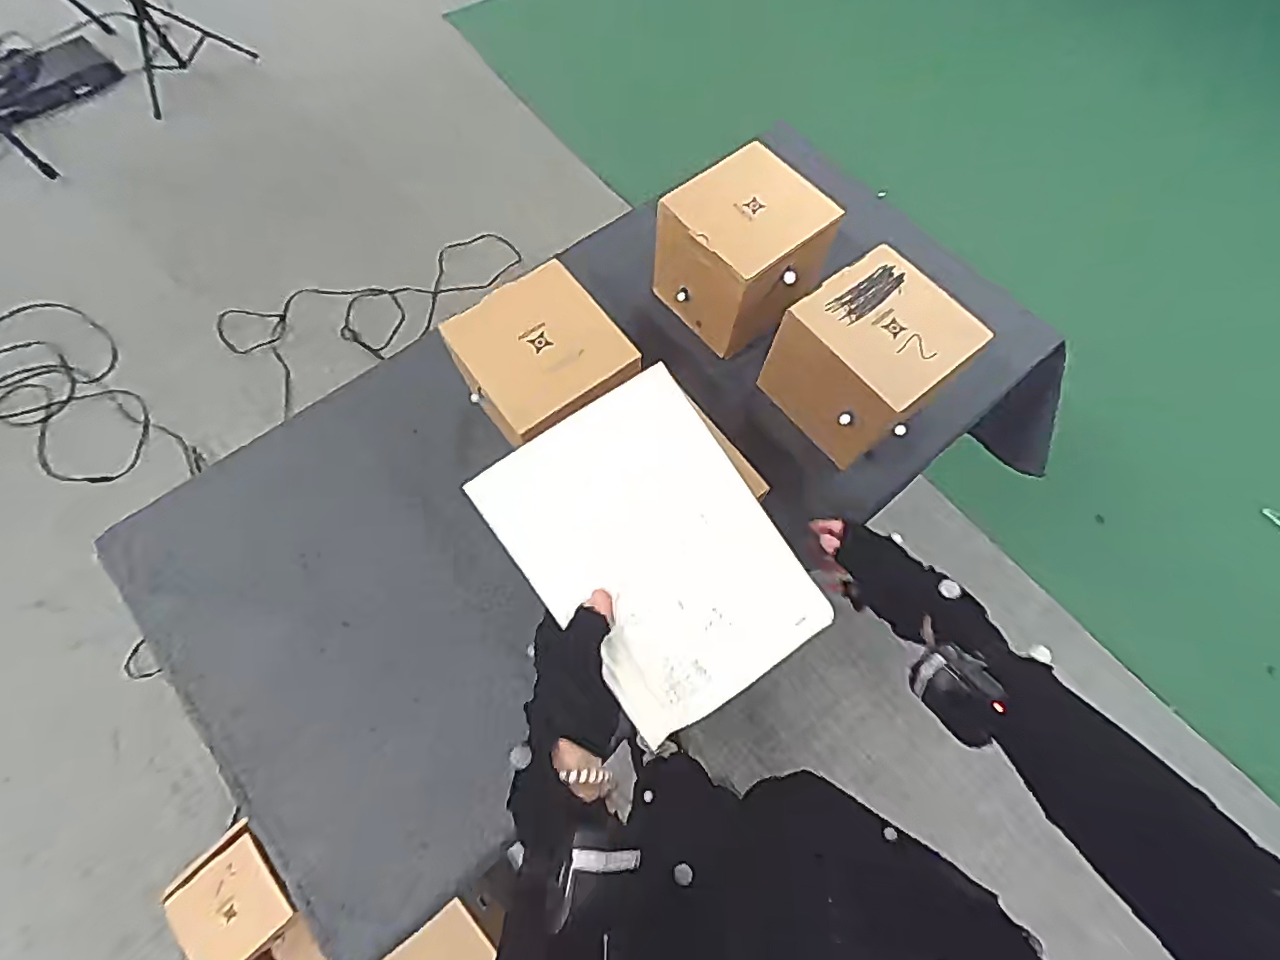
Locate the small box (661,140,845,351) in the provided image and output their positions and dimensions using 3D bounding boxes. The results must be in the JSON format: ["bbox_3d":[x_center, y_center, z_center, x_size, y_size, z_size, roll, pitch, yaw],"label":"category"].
[{"bbox_3d":[0.142,-0.319,0.757,0.179,0.176,0.168,-38,74,-13],"label":"small box"}]
